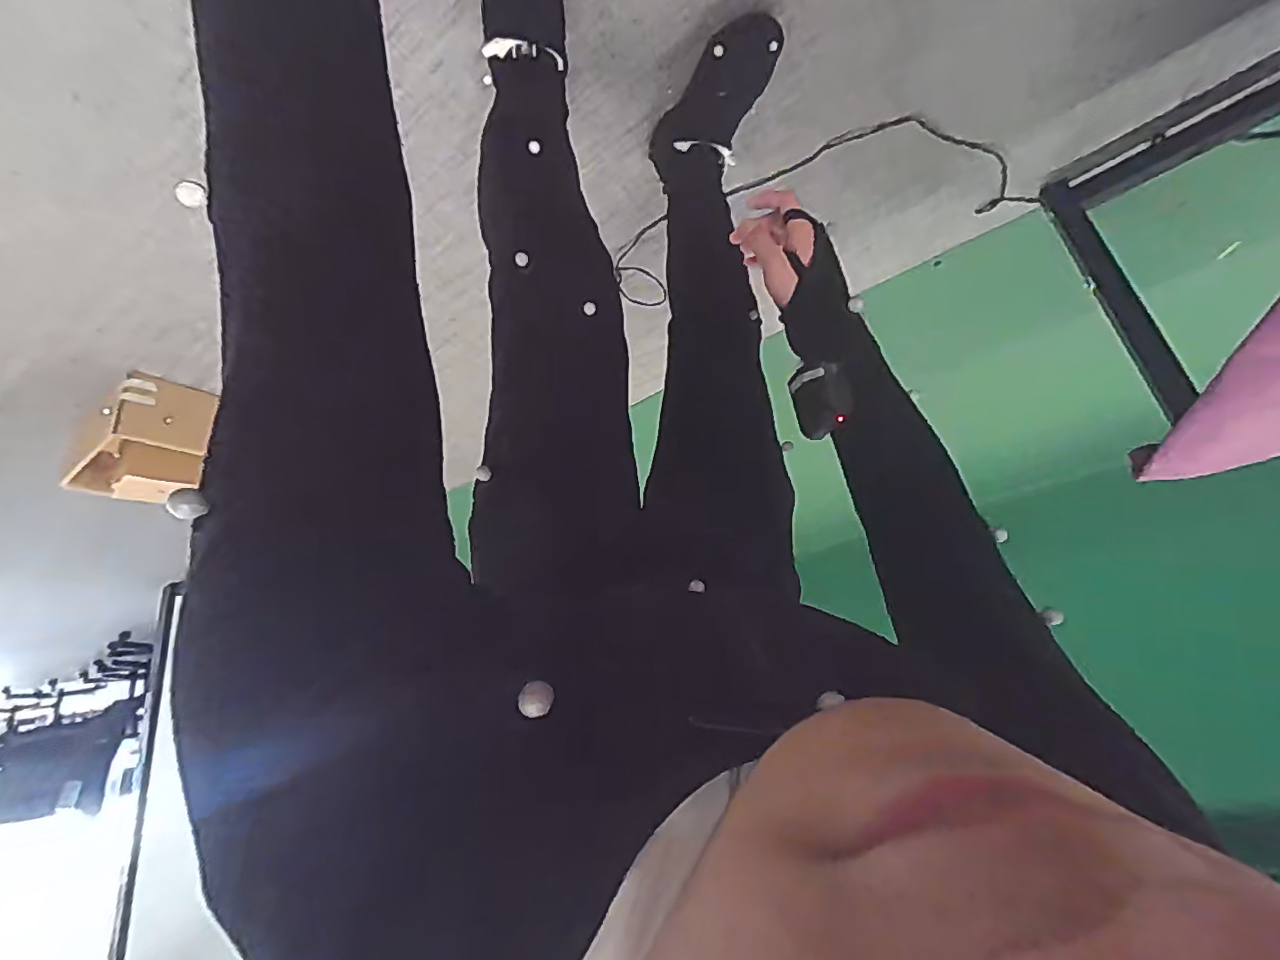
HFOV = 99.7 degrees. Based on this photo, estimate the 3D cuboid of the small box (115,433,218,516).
[{"bbox_3d":[-1.341,-0.016,1.538,0.168,0.176,0.179,-26,153,32],"label":"small box"}]
